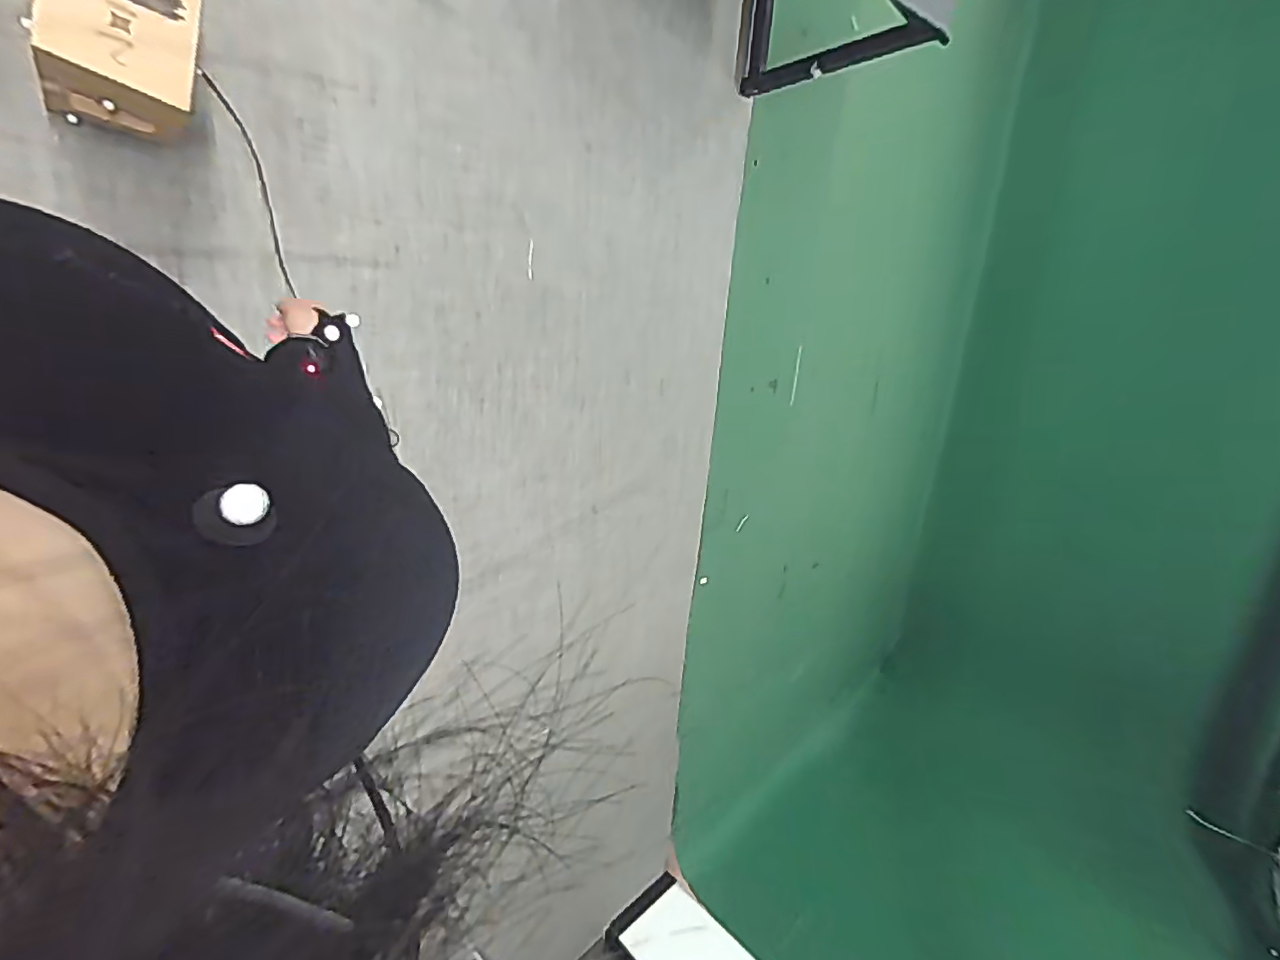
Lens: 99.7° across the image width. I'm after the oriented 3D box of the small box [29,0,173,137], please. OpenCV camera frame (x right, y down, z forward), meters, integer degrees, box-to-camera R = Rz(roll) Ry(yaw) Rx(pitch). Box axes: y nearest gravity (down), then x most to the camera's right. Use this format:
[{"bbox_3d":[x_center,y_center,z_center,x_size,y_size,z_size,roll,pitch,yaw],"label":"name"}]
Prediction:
[{"bbox_3d":[-0.913,-0.720,0.923,0.168,0.176,0.179,-2,105,-46],"label":"small box"}]
